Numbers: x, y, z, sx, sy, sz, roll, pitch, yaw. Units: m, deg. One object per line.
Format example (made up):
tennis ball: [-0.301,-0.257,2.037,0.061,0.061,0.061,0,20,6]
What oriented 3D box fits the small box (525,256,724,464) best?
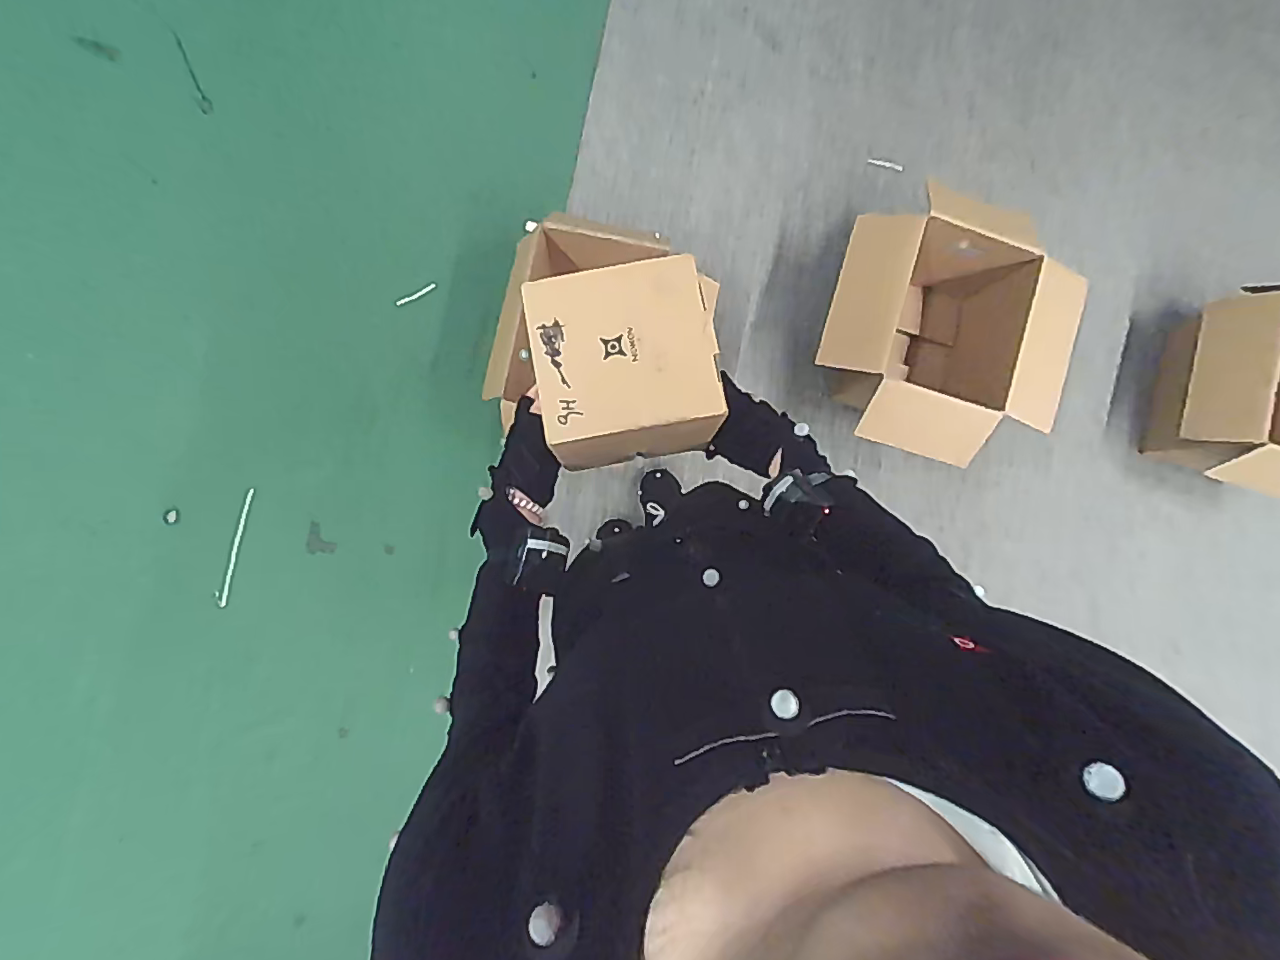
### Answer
small box: [-0.019,-0.121,0.601,0.179,0.176,0.168,-9,82,-3]
